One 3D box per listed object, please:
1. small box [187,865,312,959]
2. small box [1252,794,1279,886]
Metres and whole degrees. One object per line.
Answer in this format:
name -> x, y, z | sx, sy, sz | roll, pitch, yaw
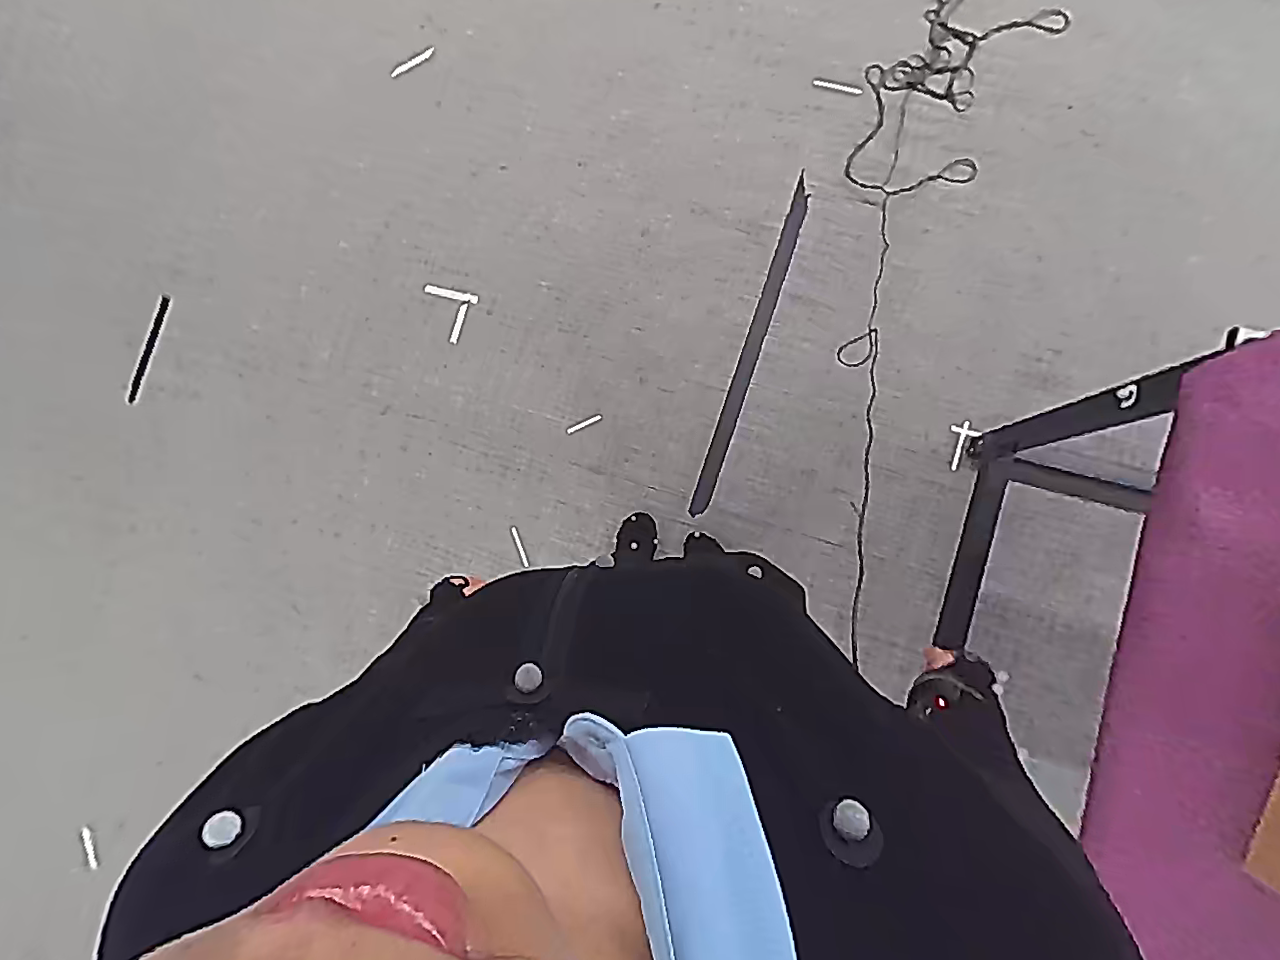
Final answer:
small box -> -1.029, 1.189, 1.441 | 0.179, 0.176, 0.168 | 43, 91, 9
small box -> 0.830, 0.416, 0.569 | 0.168, 0.176, 0.179 | 24, 88, 8
